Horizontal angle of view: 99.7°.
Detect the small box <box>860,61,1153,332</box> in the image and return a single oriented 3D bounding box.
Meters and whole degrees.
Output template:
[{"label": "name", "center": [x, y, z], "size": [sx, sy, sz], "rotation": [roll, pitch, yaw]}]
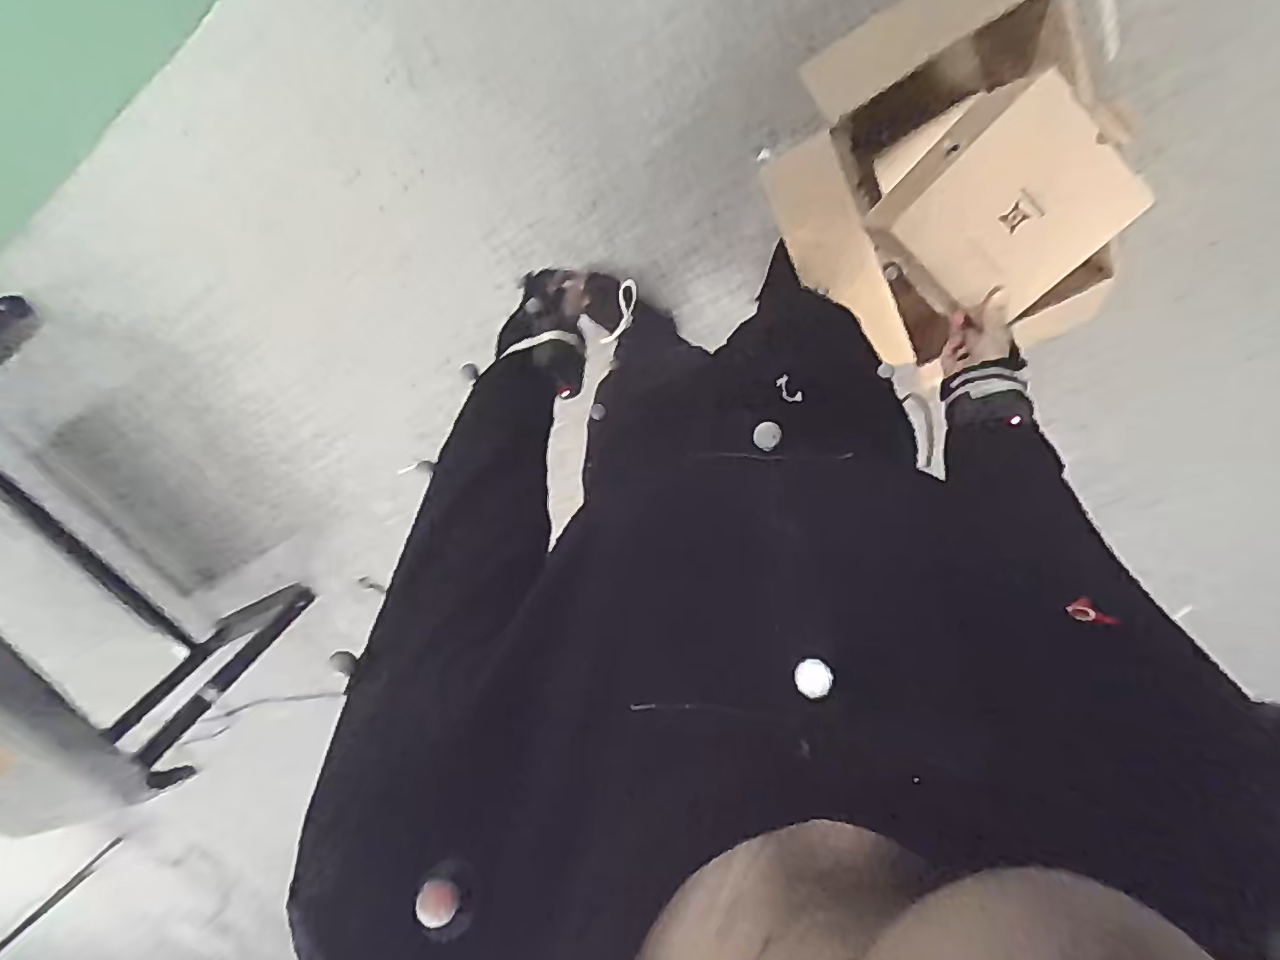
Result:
[{"label": "small box", "center": [0.373, -0.296, 0.590], "size": [0.168, 0.176, 0.179], "rotation": [40, 116, -10]}]
